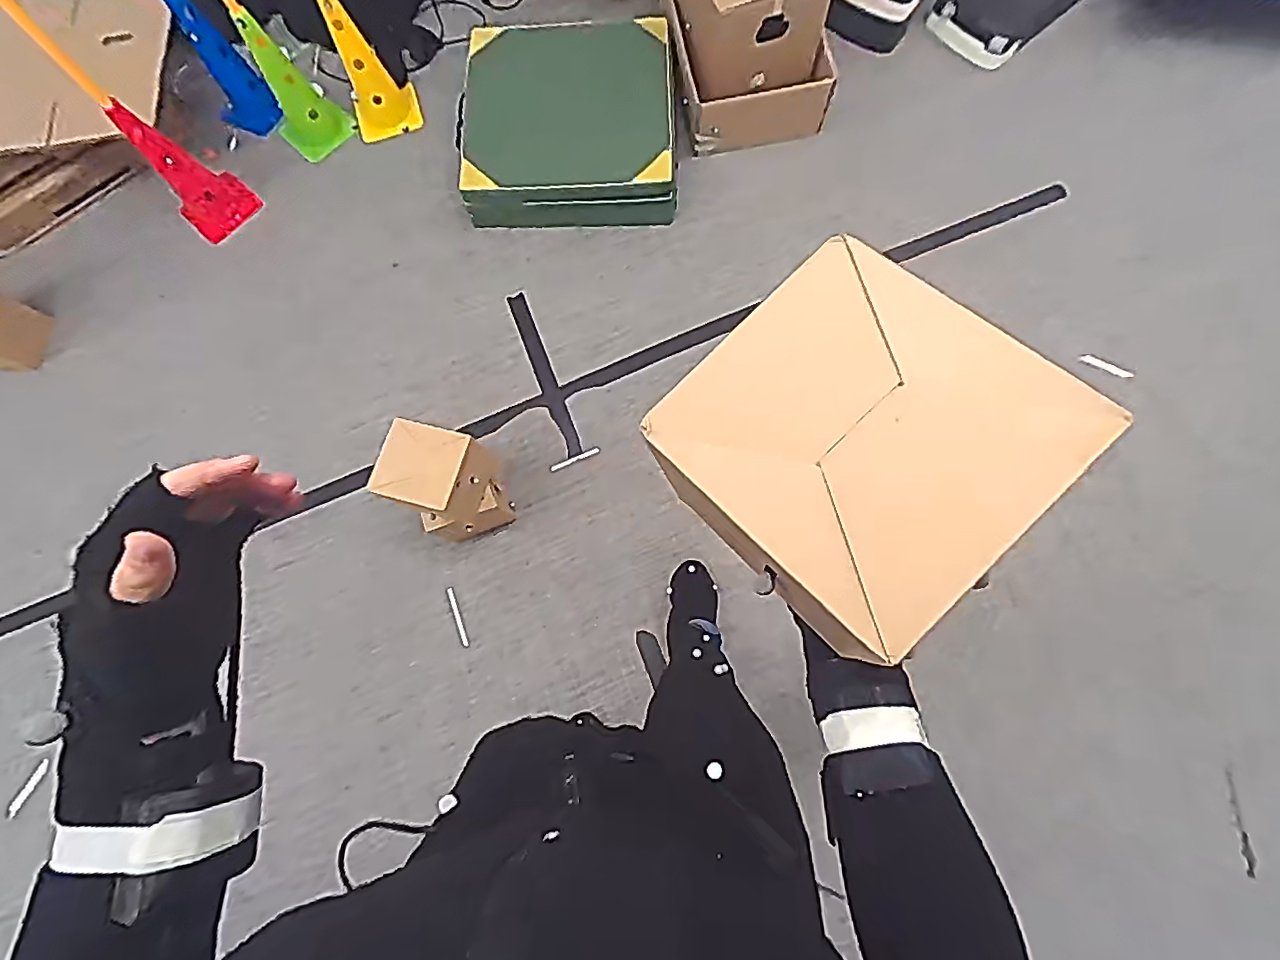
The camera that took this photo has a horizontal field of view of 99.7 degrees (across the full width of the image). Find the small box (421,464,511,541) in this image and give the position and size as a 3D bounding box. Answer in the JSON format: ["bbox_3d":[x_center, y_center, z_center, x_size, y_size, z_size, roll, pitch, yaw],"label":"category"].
[{"bbox_3d":[-0.434,0.041,1.347,0.179,0.176,0.168,-20,75,-2],"label":"small box"}]

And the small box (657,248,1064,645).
[{"bbox_3d":[0.132,-0.010,0.363,0.168,0.176,0.179,-44,69,-3],"label":"small box"}]

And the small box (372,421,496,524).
[{"bbox_3d":[-0.446,-0.013,1.188,0.179,0.176,0.168,14,76,7],"label":"small box"}]
